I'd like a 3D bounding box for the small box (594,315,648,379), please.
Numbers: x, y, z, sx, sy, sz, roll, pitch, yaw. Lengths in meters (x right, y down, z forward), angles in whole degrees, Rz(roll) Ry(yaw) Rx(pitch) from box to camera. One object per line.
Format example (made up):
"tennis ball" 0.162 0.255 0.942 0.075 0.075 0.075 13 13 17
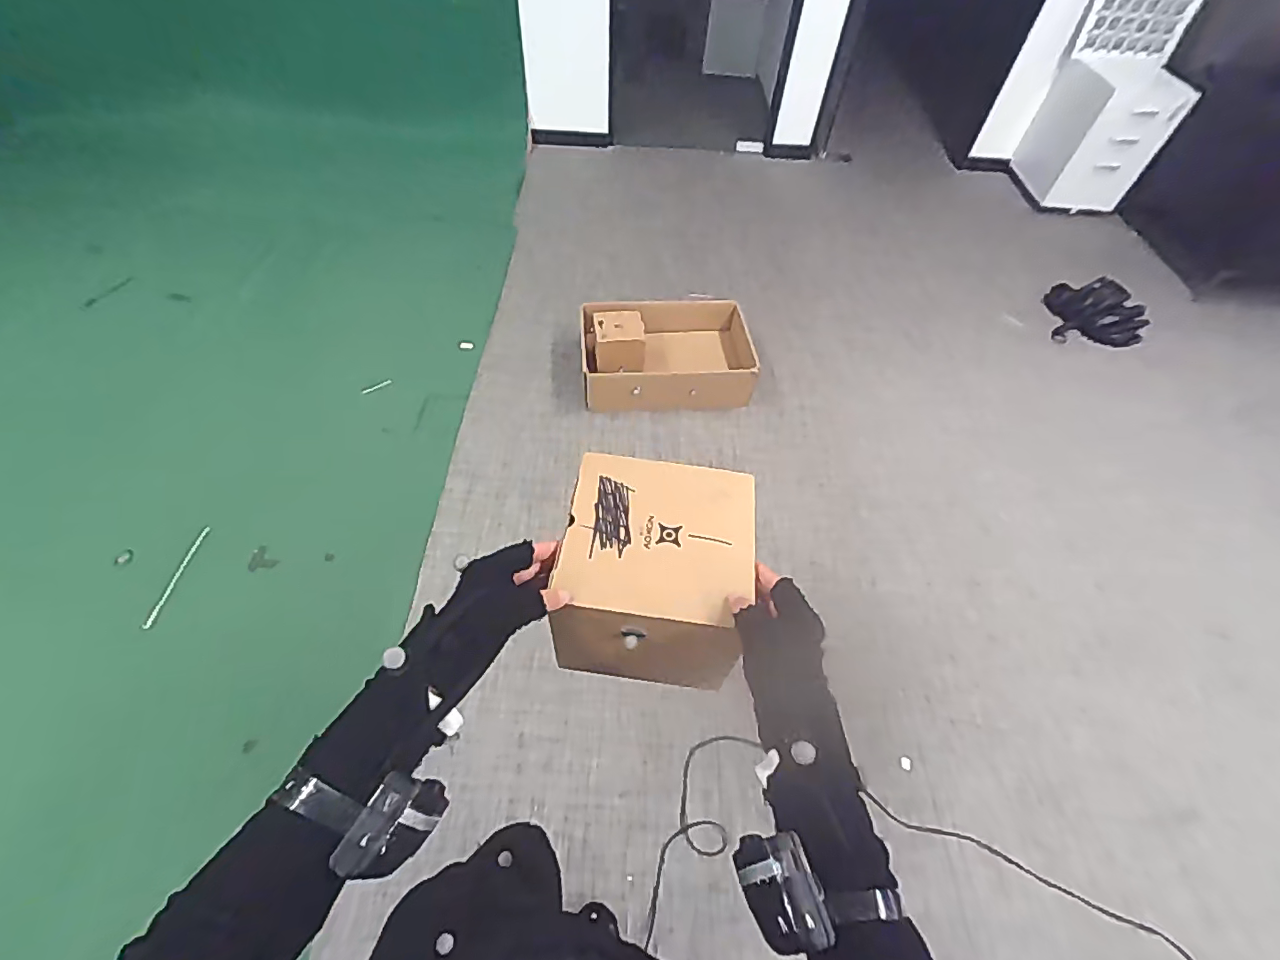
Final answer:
"small box" -0.074 -0.489 1.992 0.179 0.176 0.168 -4 53 -8

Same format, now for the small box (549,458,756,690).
"small box" 0.015 0.102 0.557 0.179 0.176 0.168 8 53 1
